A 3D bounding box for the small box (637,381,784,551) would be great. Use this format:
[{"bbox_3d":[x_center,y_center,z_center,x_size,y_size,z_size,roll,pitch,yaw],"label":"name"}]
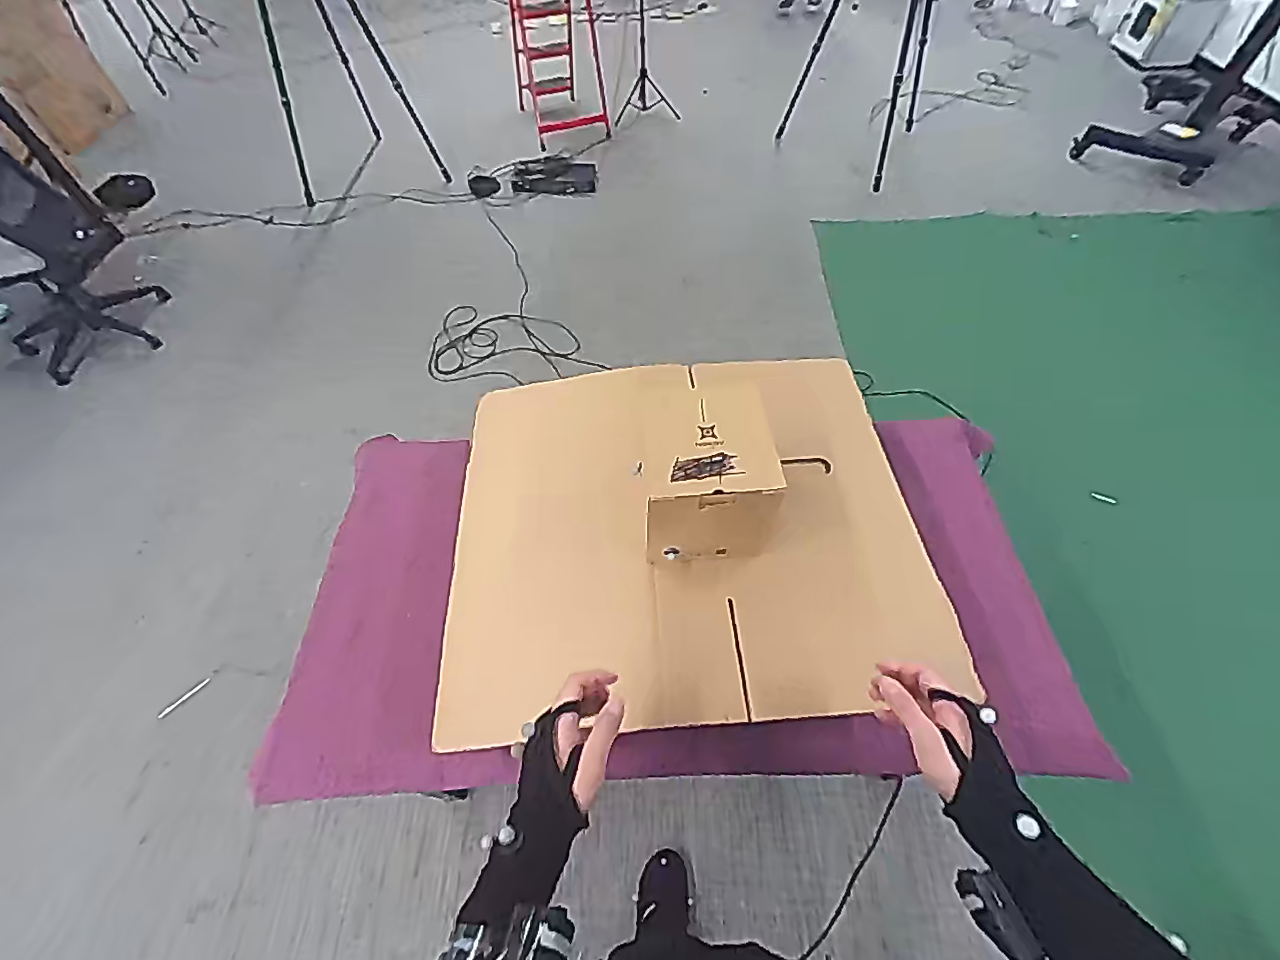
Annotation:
[{"bbox_3d":[0.084,-0.011,0.738,0.168,0.176,0.179,-3,55,-3],"label":"small box"}]
